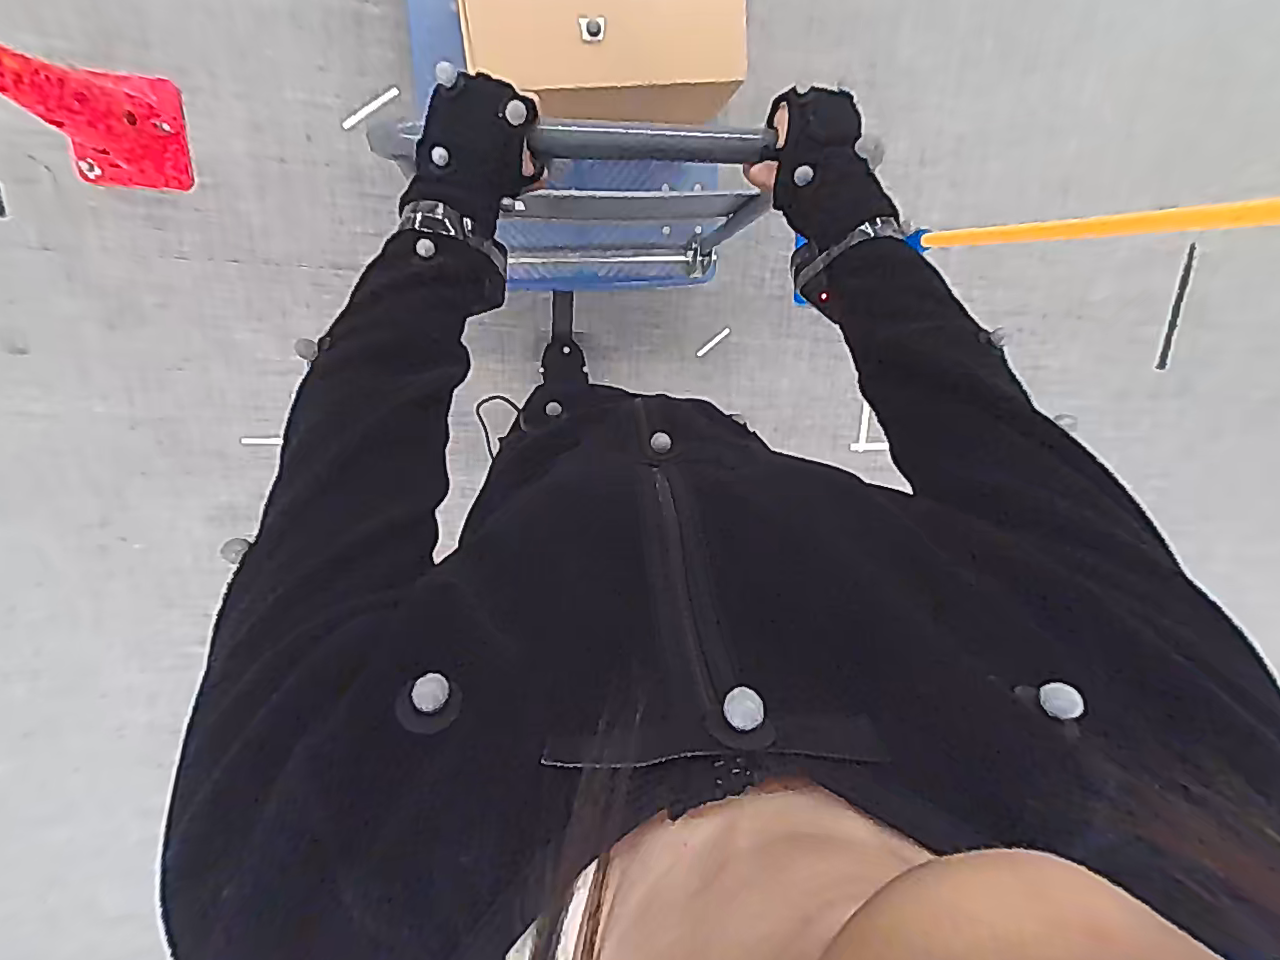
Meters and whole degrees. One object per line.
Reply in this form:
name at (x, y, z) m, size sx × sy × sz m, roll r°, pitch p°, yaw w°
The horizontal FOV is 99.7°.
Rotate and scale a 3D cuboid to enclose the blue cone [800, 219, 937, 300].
blue cone at (0.533, -0.526, 1.237) m, size 0.193 × 0.380 × 0.192 m, roll -3°, pitch 104°, yaw -11°
